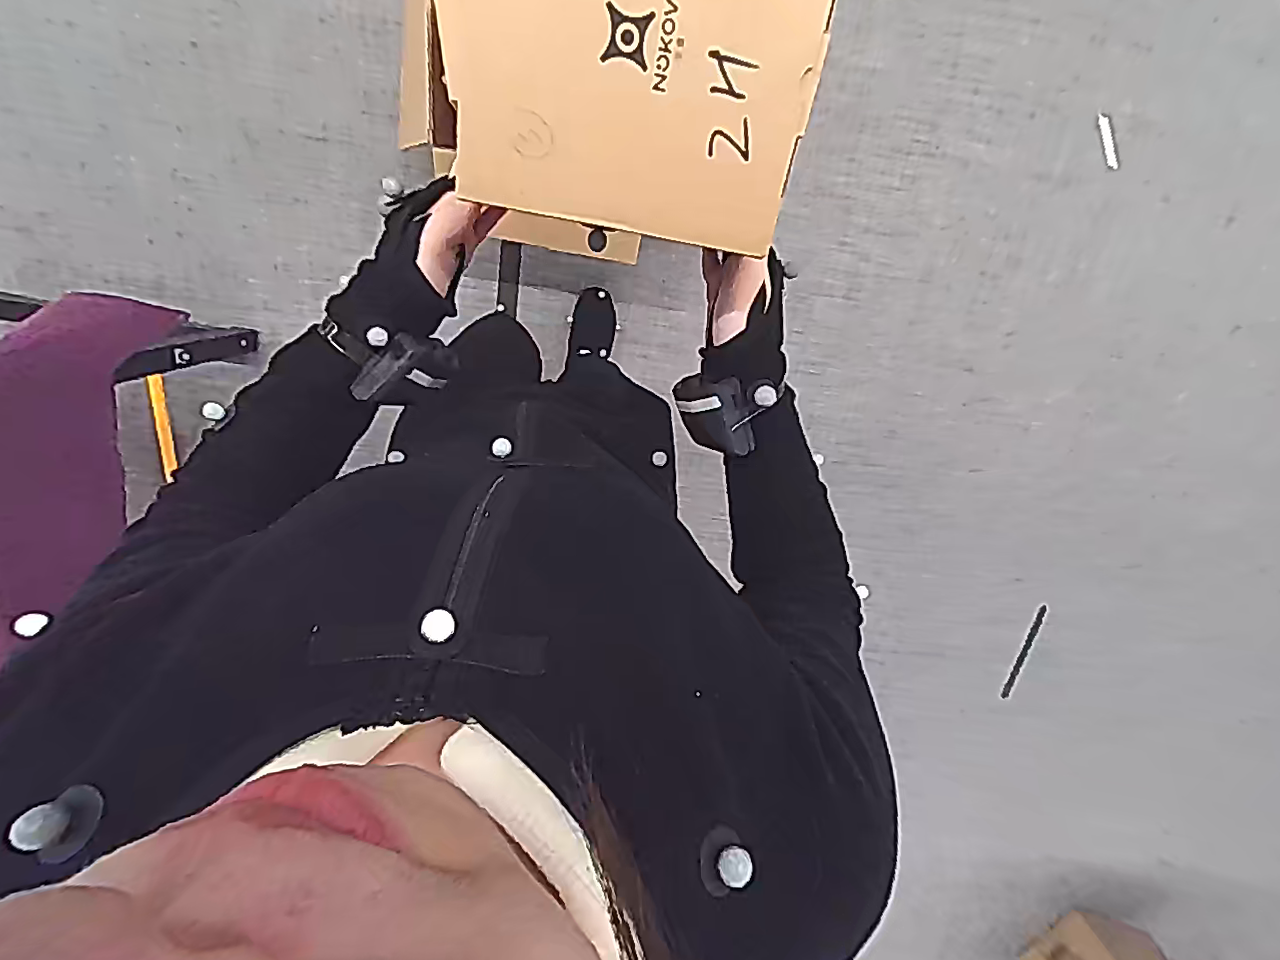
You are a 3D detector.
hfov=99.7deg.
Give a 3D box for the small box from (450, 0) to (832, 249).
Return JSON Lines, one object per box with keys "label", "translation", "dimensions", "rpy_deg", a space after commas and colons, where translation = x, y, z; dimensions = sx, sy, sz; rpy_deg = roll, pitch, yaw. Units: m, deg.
{"label": "small box", "translation": [-0.003, -0.249, 0.330], "dimensions": [0.179, 0.176, 0.168], "rpy_deg": [8, 117, -7]}
